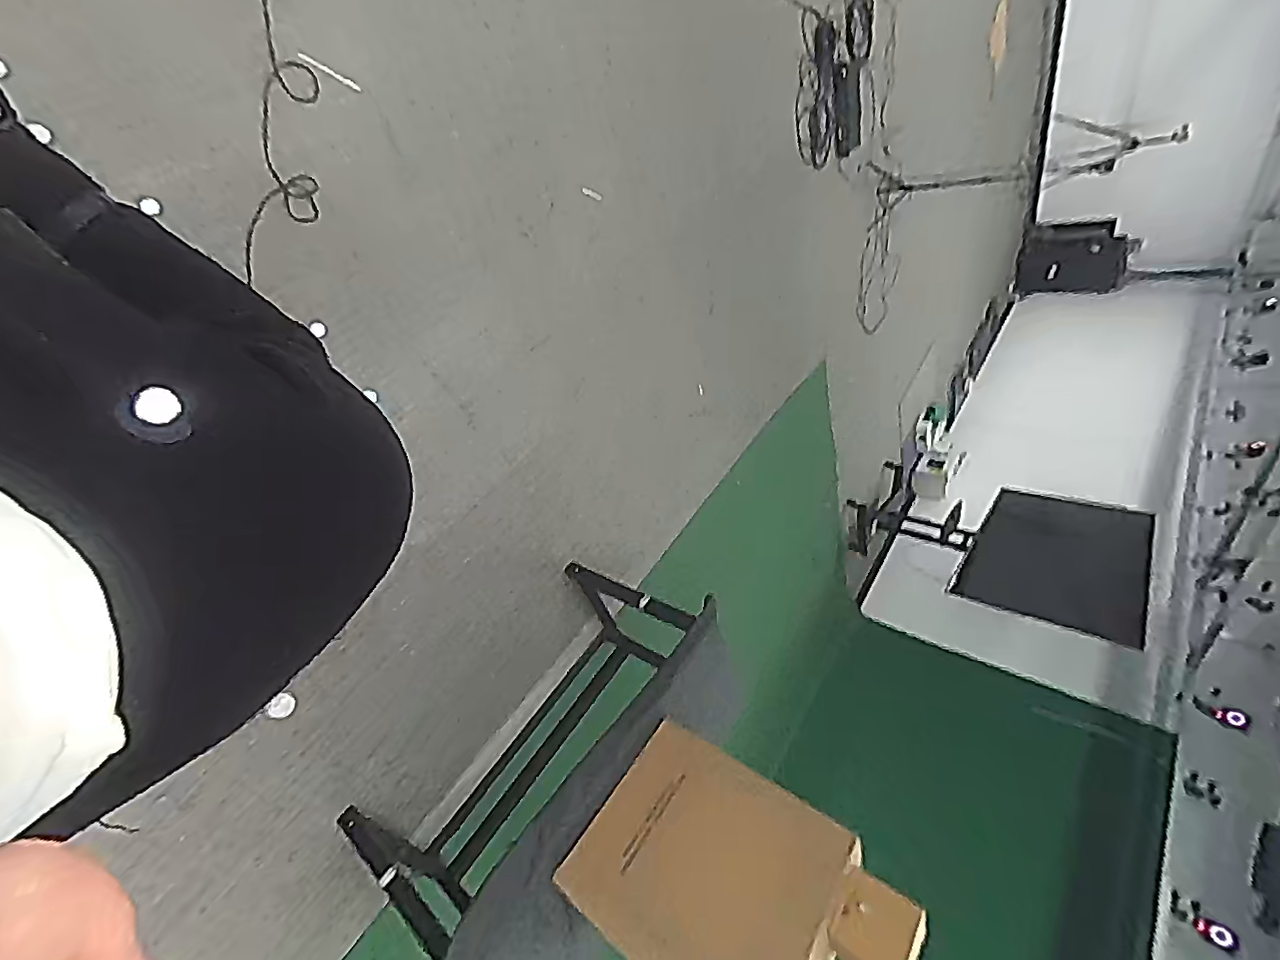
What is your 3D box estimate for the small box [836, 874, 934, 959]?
[{"bbox_3d":[0.586,1.095,1.293,0.168,0.176,0.179,-45,130,-33],"label":"small box"}]
